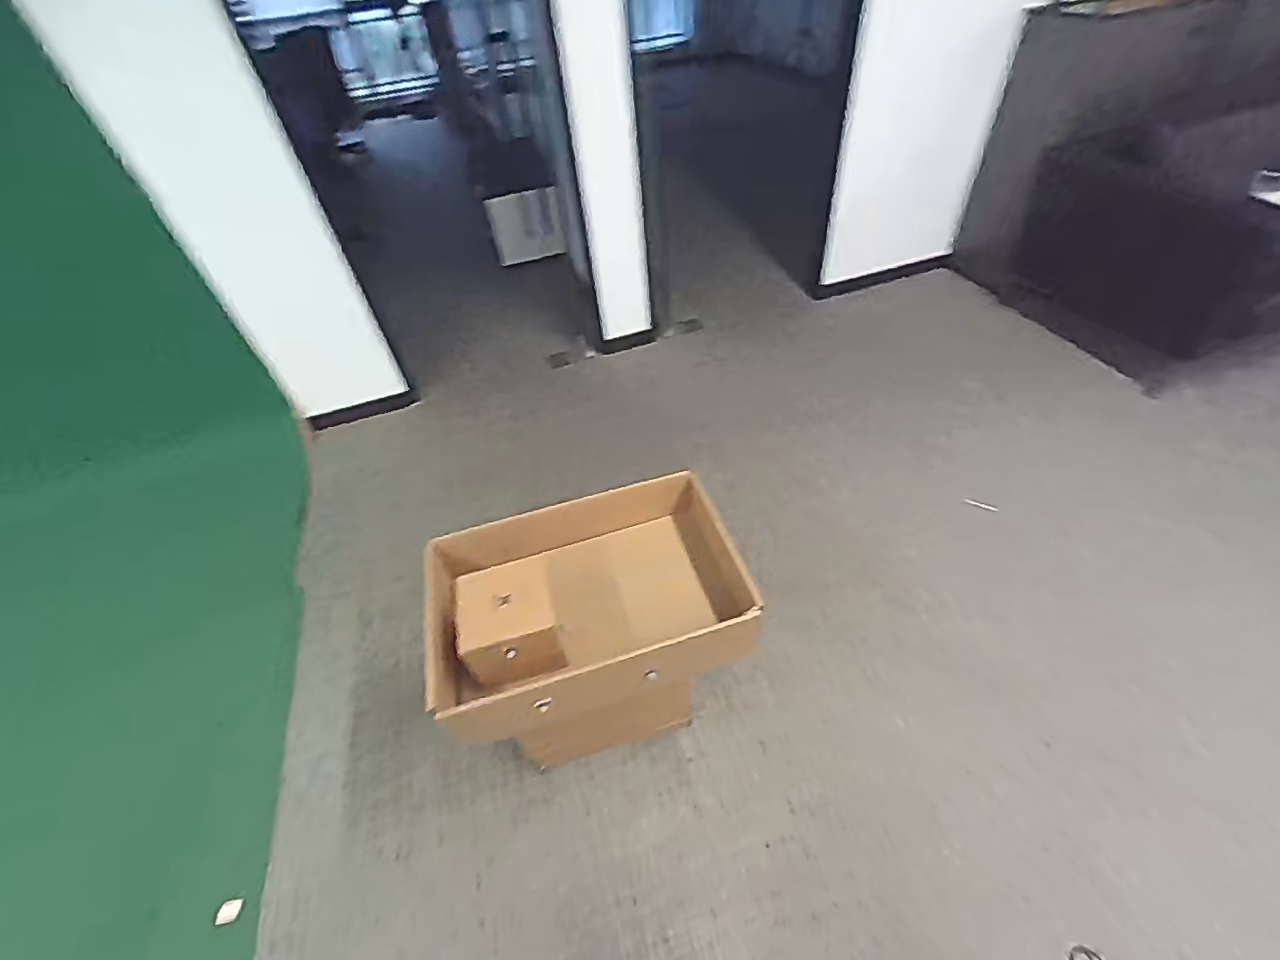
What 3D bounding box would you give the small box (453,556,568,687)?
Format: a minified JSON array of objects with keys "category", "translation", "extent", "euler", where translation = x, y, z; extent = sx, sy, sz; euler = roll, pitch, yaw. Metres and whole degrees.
[{"category":"small box","translation":[-0.255,0.283,1.071],"extent":[0.179,0.176,0.168],"euler":[-15,47,-6]}]
